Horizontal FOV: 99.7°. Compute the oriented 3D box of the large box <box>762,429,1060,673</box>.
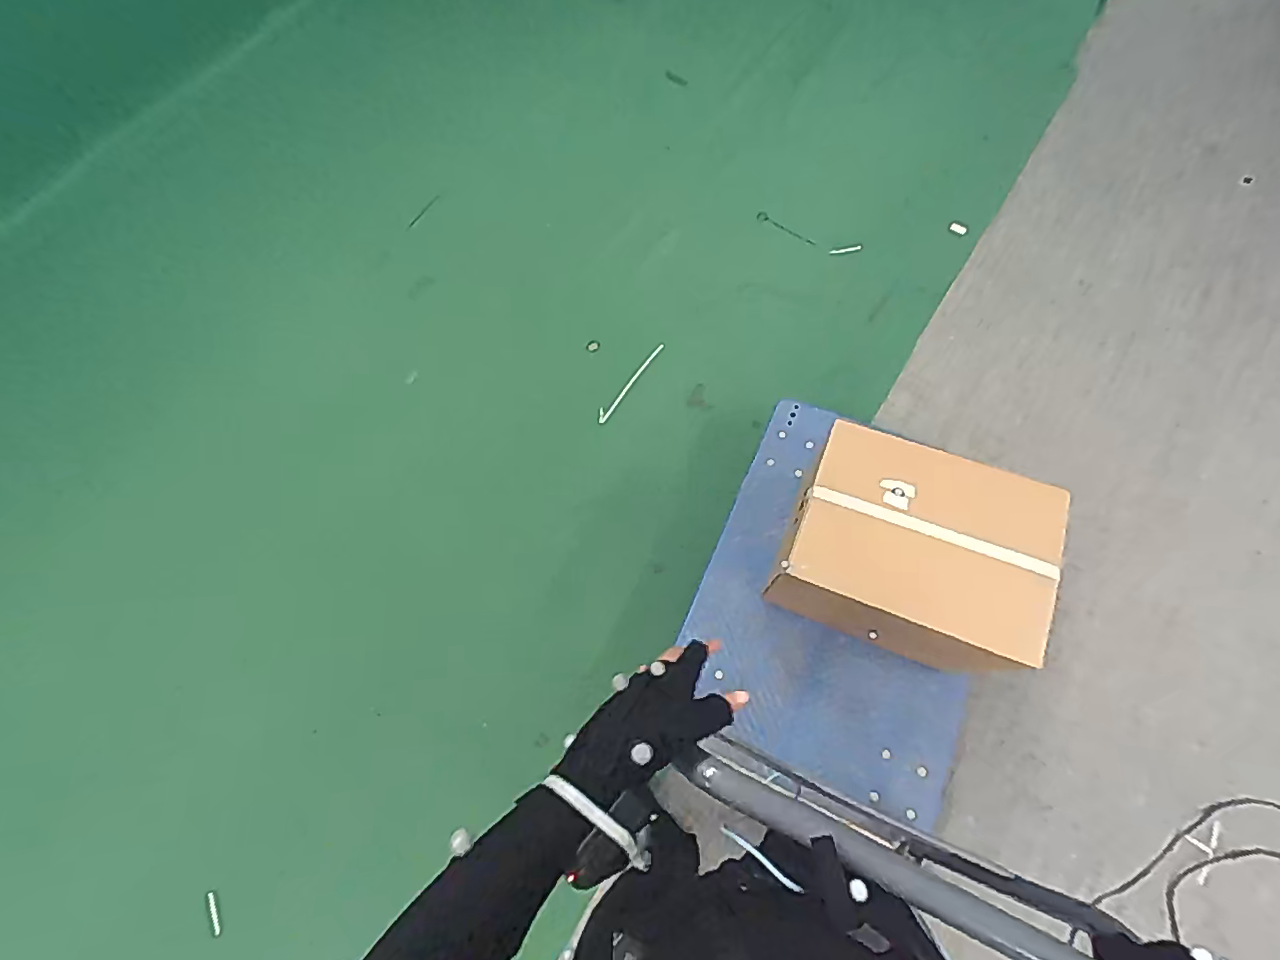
[{"bbox_3d":[0.490,0.151,1.051,0.408,0.320,0.320,20,72,14],"label":"large box"}]
